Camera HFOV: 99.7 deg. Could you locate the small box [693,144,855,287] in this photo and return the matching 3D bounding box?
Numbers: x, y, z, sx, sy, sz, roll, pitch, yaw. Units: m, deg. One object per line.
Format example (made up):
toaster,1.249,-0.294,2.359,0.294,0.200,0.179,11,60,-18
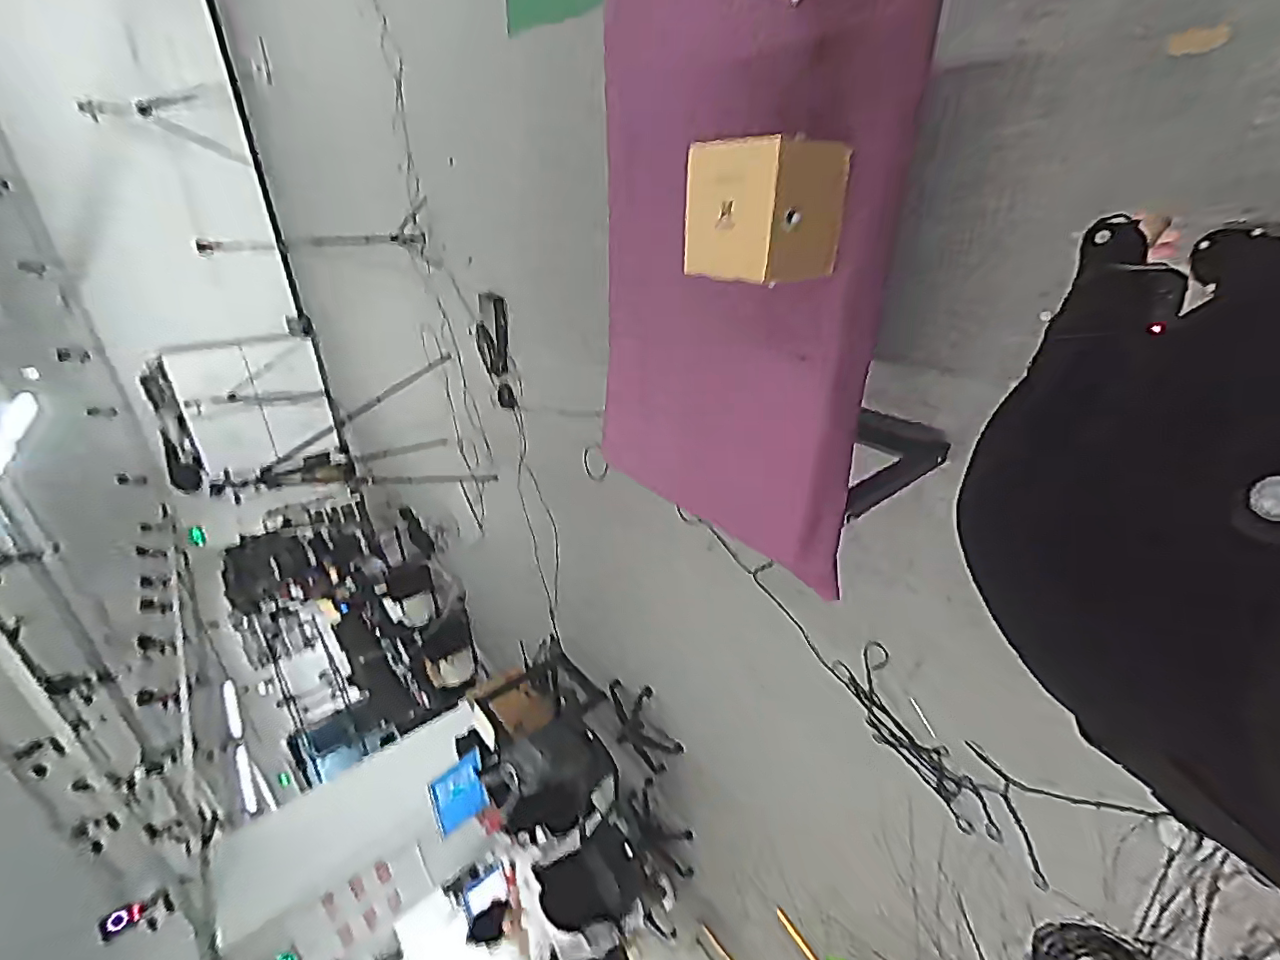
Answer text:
small box,0.199,-0.400,0.816,0.168,0.176,0.179,30,130,44
